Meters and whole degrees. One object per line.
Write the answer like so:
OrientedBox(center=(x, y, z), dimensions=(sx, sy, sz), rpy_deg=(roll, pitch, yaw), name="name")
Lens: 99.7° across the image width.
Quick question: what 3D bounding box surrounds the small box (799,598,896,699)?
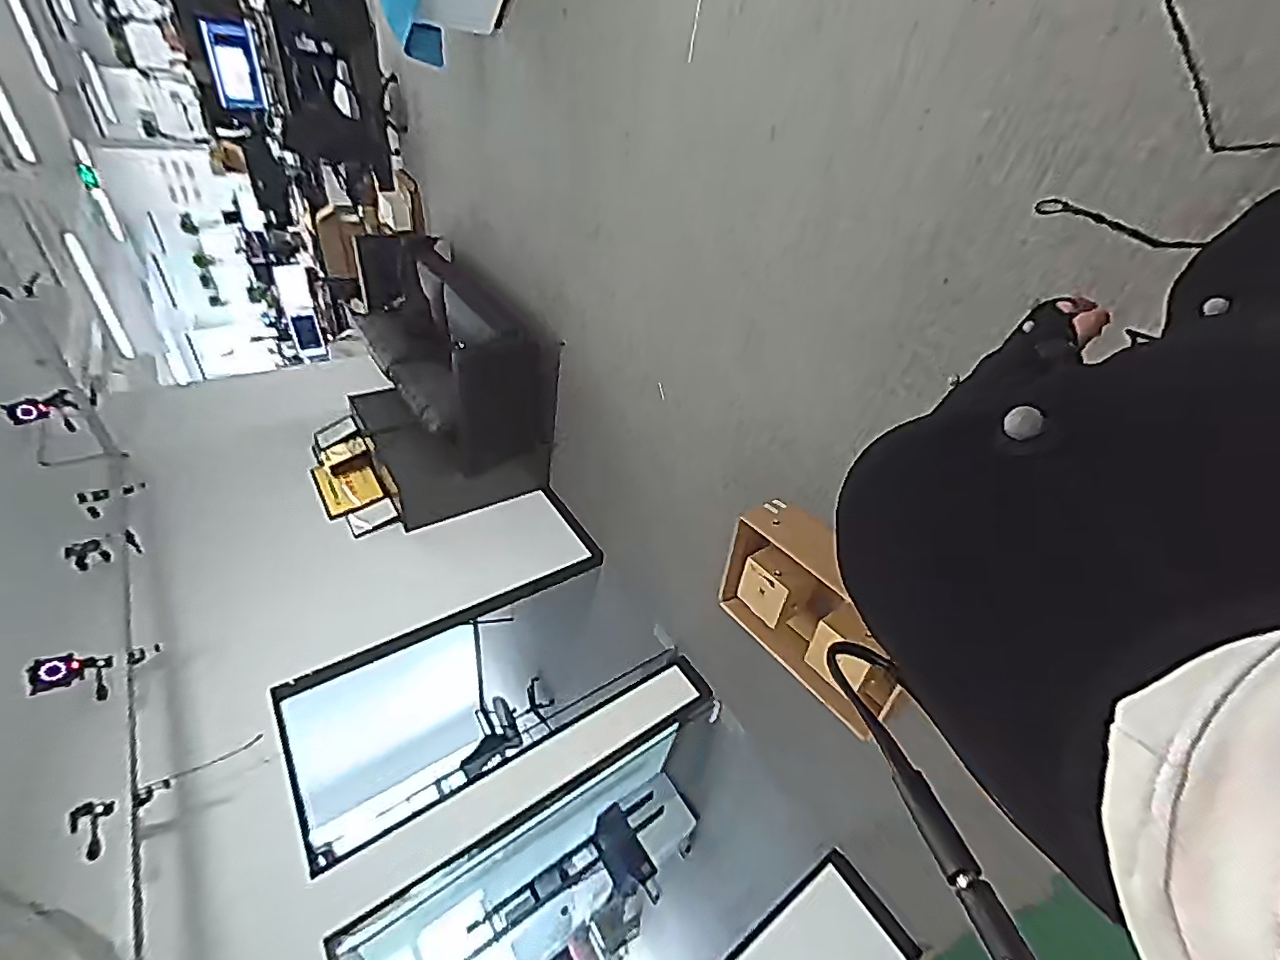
OrientedBox(center=(0.580, 0.461, 1.506), dimensions=(0.168, 0.176, 0.179), rpy_deg=(40, 137, 38), name="small box")
